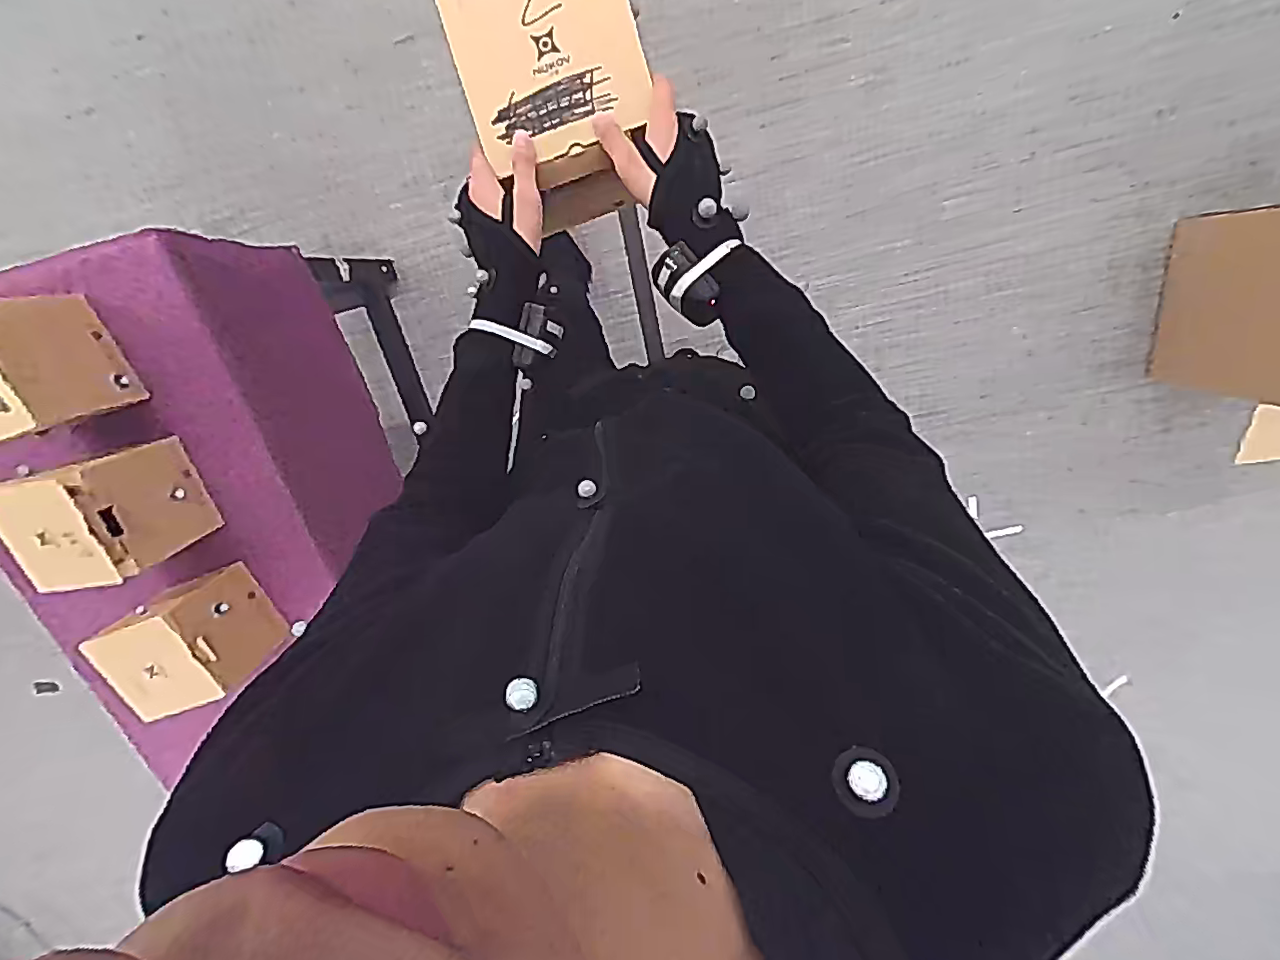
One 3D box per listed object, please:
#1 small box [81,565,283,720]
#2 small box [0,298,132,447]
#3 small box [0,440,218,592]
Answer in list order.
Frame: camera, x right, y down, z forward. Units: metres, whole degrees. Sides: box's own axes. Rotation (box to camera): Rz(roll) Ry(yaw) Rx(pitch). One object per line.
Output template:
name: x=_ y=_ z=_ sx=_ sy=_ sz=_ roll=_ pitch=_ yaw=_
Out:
small box: x=-0.762 y=0.271 z=0.929 sx=0.179 sy=0.176 sz=0.168 roll=-20 pitch=109 yaw=10
small box: x=-0.886 y=-0.148 z=0.764 sx=0.179 sy=0.176 sz=0.168 roll=-16 pitch=111 yaw=10
small box: x=-0.824 y=0.049 z=0.840 sx=0.179 sy=0.176 sz=0.168 roll=-10 pitch=111 yaw=6
